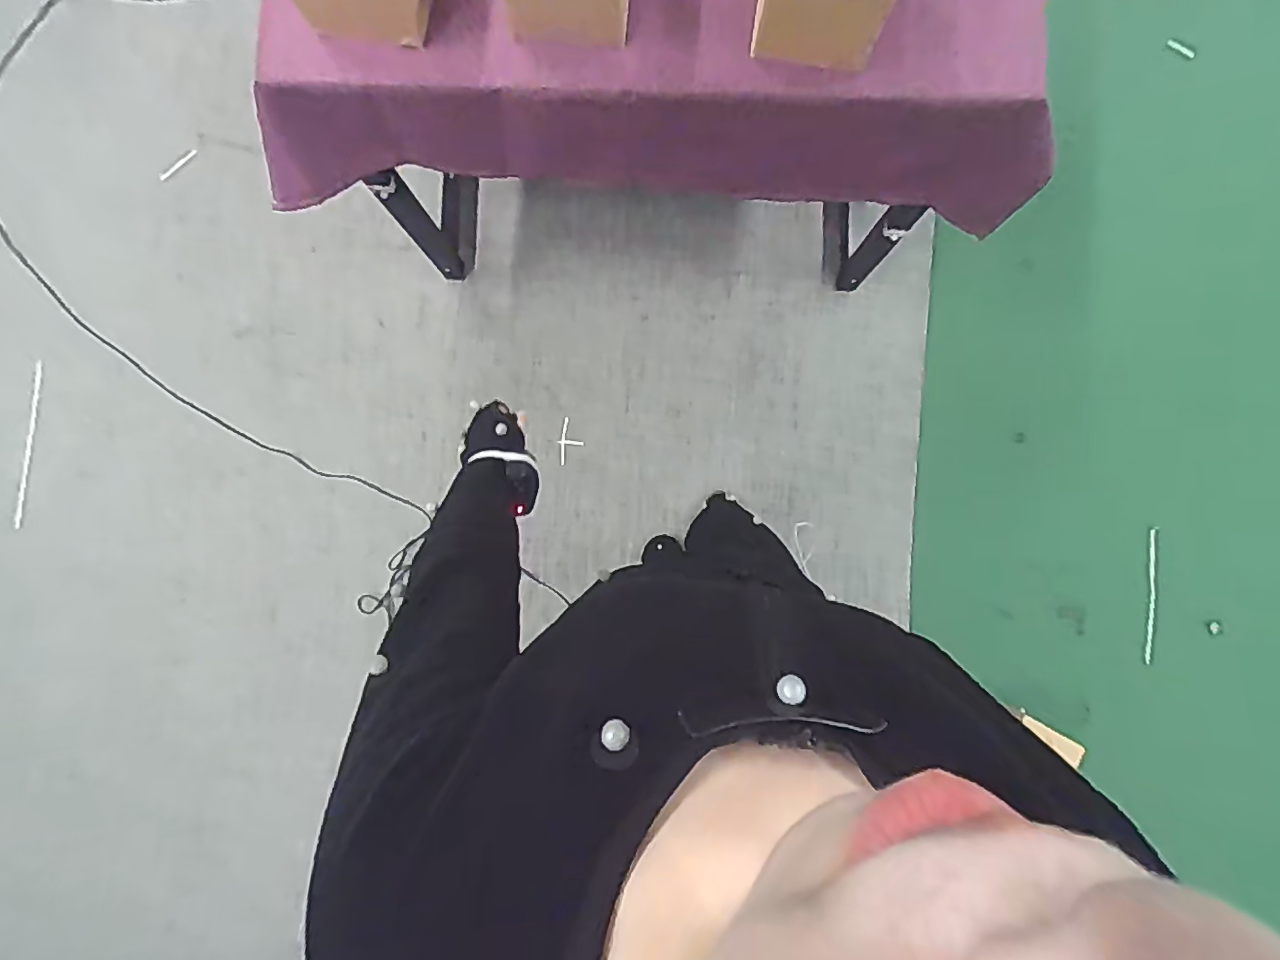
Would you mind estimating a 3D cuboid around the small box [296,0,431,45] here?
[{"bbox_3d":[-0.408,-0.760,0.756,0.179,0.176,0.168,9,87,1],"label":"small box"}]

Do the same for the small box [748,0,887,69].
[{"bbox_3d":[0.256,-0.716,0.746,0.179,0.176,0.168,9,86,1],"label":"small box"}]

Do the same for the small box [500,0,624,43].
[{"bbox_3d":[-0.107,-0.756,0.751,0.179,0.176,0.168,5,86,1],"label":"small box"}]
